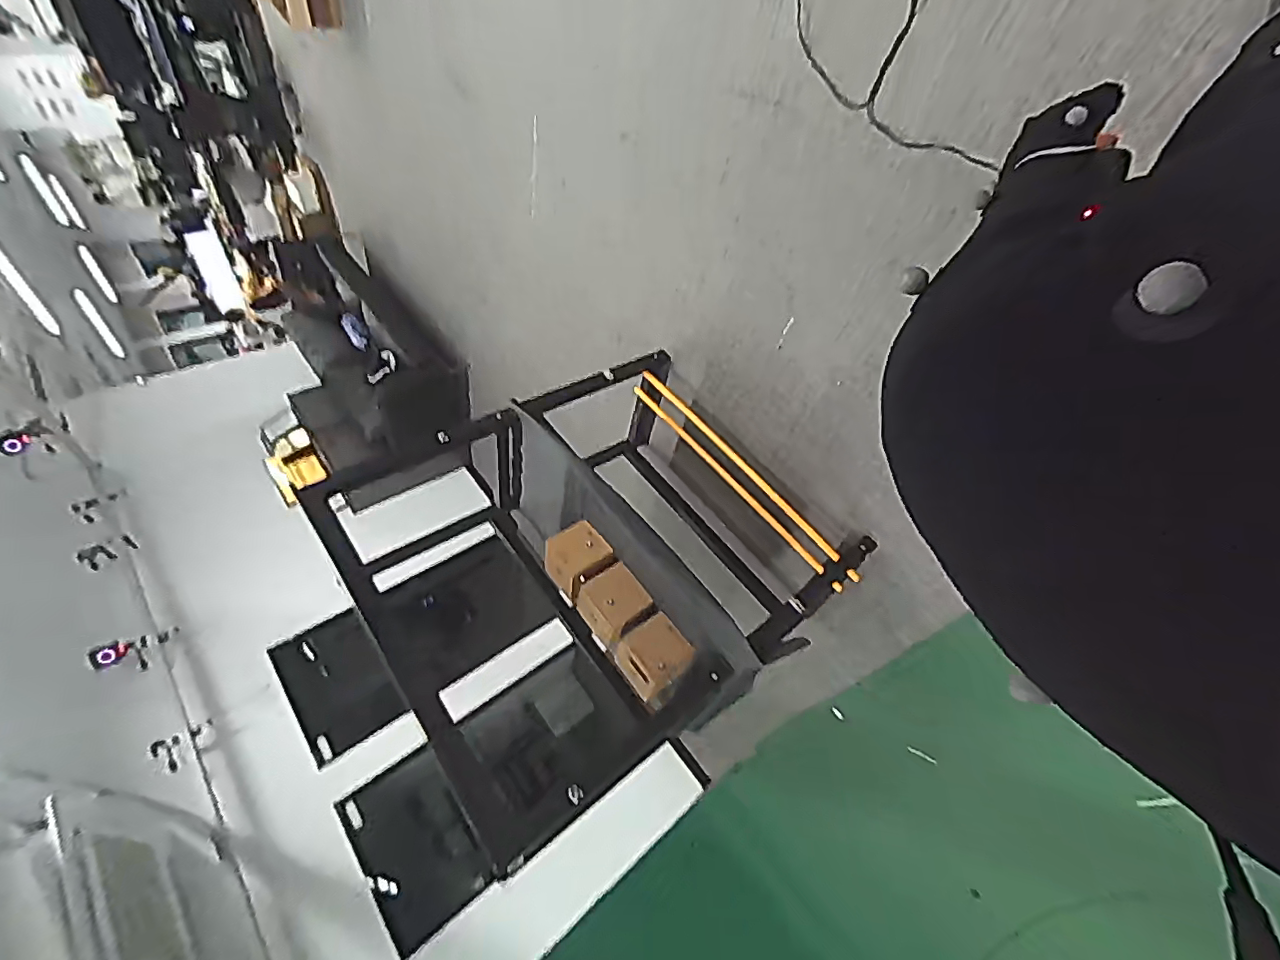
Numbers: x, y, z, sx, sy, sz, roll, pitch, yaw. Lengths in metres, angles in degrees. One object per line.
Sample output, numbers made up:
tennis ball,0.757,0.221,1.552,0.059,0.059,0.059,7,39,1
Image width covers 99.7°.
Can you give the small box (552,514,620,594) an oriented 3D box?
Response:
small box,-0.185,0.252,1.858,0.168,0.176,0.179,43,145,27
